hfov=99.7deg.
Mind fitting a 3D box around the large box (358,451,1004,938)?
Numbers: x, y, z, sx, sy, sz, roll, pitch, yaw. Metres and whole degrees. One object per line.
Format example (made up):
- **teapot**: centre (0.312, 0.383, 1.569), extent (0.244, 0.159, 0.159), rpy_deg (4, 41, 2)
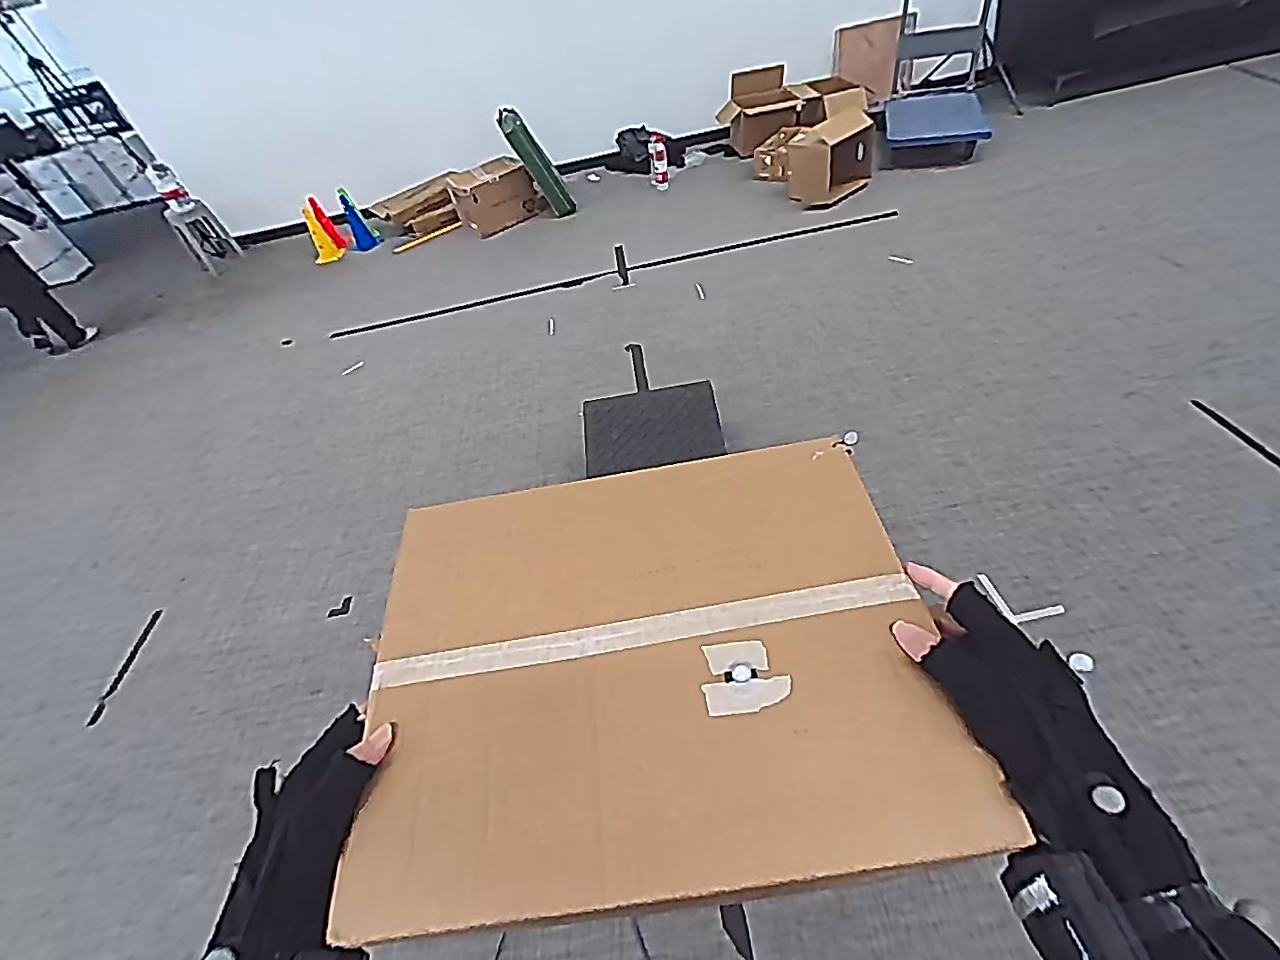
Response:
- **large box**: centre (0.023, 0.216, 0.530), extent (0.408, 0.320, 0.320), rpy_deg (-10, 51, 2)
